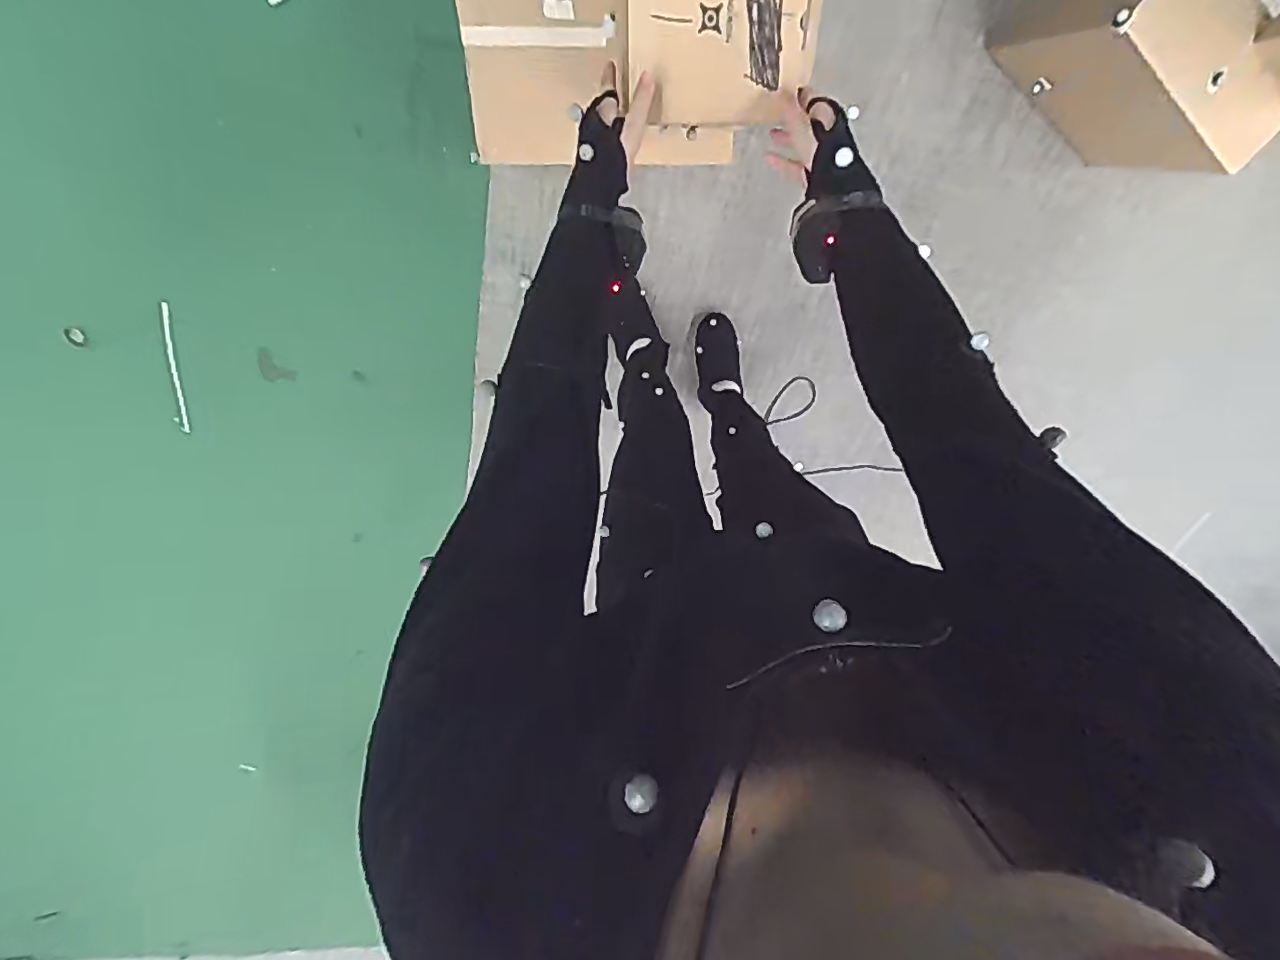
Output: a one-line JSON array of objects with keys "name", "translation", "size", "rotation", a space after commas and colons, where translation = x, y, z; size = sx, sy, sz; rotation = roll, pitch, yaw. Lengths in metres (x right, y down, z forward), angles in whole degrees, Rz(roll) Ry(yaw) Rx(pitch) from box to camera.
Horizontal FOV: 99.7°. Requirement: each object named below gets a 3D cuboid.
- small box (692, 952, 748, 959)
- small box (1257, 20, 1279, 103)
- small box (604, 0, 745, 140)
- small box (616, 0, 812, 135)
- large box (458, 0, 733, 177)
[{"name": "small box", "translation": [0.219, 1.432, 1.487], "size": [0.168, 0.176, 0.179], "rotation": [11, 121, -13]}, {"name": "small box", "translation": [1.099, -0.677, 0.792], "size": [0.168, 0.176, 0.179], "rotation": [26, 113, -22]}, {"name": "small box", "translation": [0.048, -0.558, 0.719], "size": [0.179, 0.176, 0.168], "rotation": [0, 121, -8]}, {"name": "small box", "translation": [0.067, -0.471, 0.581], "size": [0.179, 0.176, 0.168], "rotation": [-3, 122, -4]}, {"name": "large box", "translation": [-0.063, -0.698, 0.908], "size": [0.408, 0.320, 0.320], "rotation": [-3, 121, -5]}]
